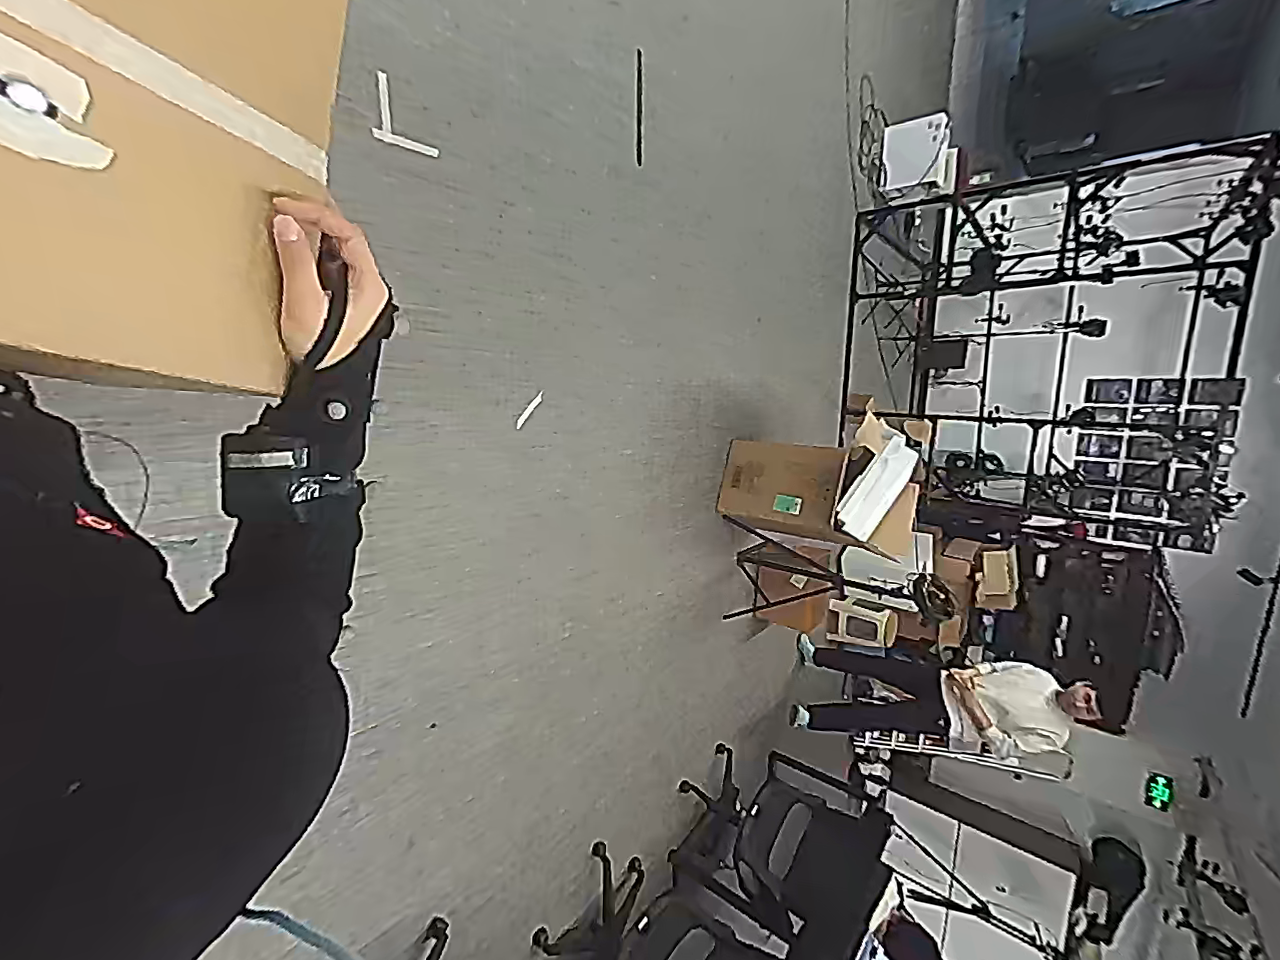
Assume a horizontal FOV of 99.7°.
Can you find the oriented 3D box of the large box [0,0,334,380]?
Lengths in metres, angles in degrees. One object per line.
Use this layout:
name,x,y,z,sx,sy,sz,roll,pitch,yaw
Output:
large box,-0.451,-0.243,0.272,0.408,0.320,0.320,6,92,-62
